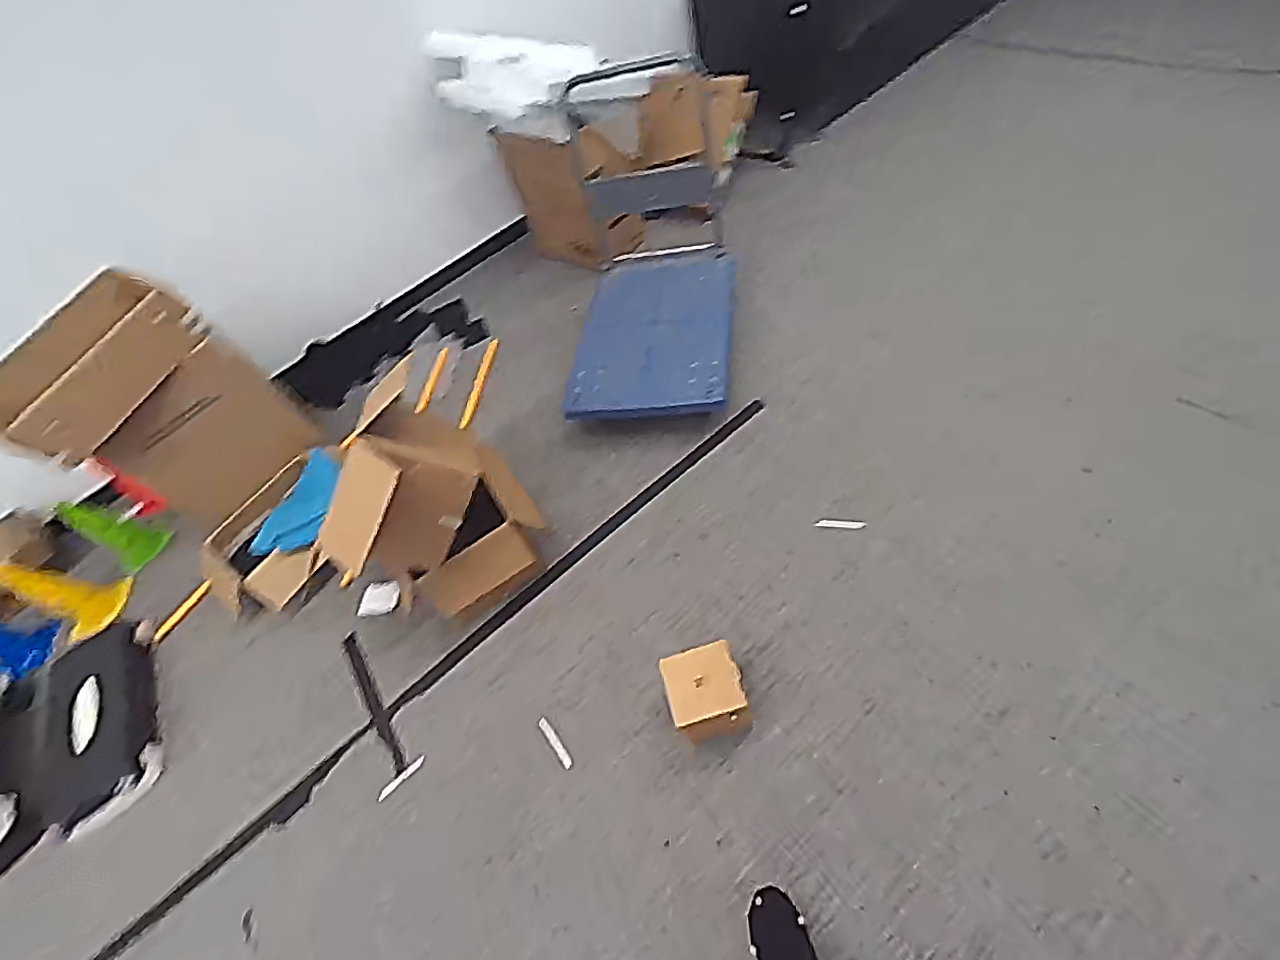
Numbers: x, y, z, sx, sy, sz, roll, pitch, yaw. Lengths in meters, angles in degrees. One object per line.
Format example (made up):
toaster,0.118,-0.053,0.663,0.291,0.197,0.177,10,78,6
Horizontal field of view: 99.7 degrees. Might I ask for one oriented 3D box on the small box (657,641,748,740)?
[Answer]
small box,0.159,0.531,1.352,0.179,0.176,0.168,-19,52,2
